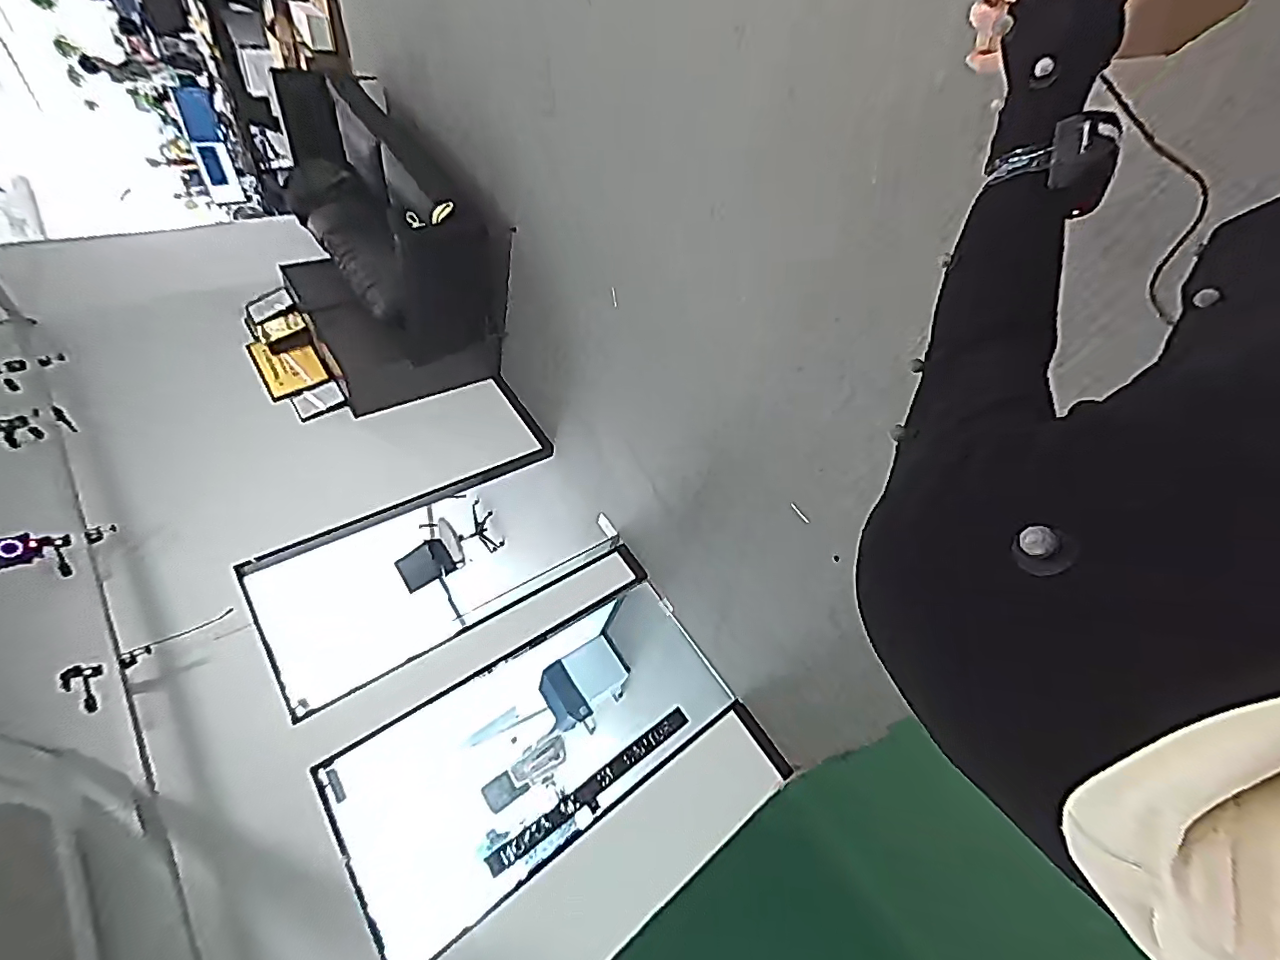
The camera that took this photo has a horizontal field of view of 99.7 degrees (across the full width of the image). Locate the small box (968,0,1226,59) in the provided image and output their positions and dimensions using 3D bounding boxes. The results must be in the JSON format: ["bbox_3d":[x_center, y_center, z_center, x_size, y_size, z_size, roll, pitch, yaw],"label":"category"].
[{"bbox_3d":[0.431,-0.504,0.474,0.168,0.176,0.179,38,156,42],"label":"small box"}]
